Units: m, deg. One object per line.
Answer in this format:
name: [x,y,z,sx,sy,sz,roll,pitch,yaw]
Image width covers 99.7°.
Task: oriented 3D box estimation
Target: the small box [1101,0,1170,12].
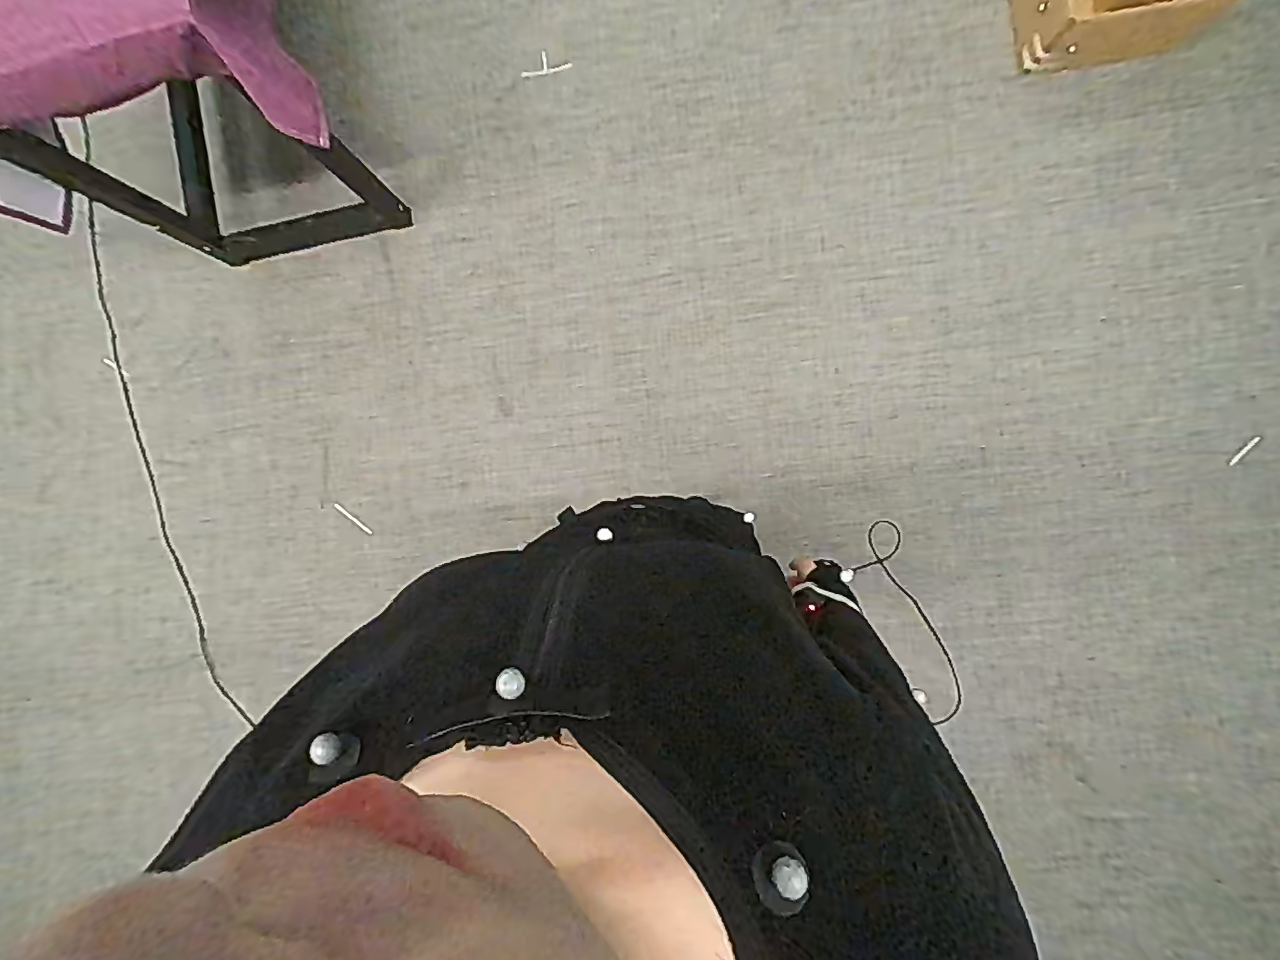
small box: [1.234,-1.265,1.281,0.179,0.176,0.168,-6,89,6]
